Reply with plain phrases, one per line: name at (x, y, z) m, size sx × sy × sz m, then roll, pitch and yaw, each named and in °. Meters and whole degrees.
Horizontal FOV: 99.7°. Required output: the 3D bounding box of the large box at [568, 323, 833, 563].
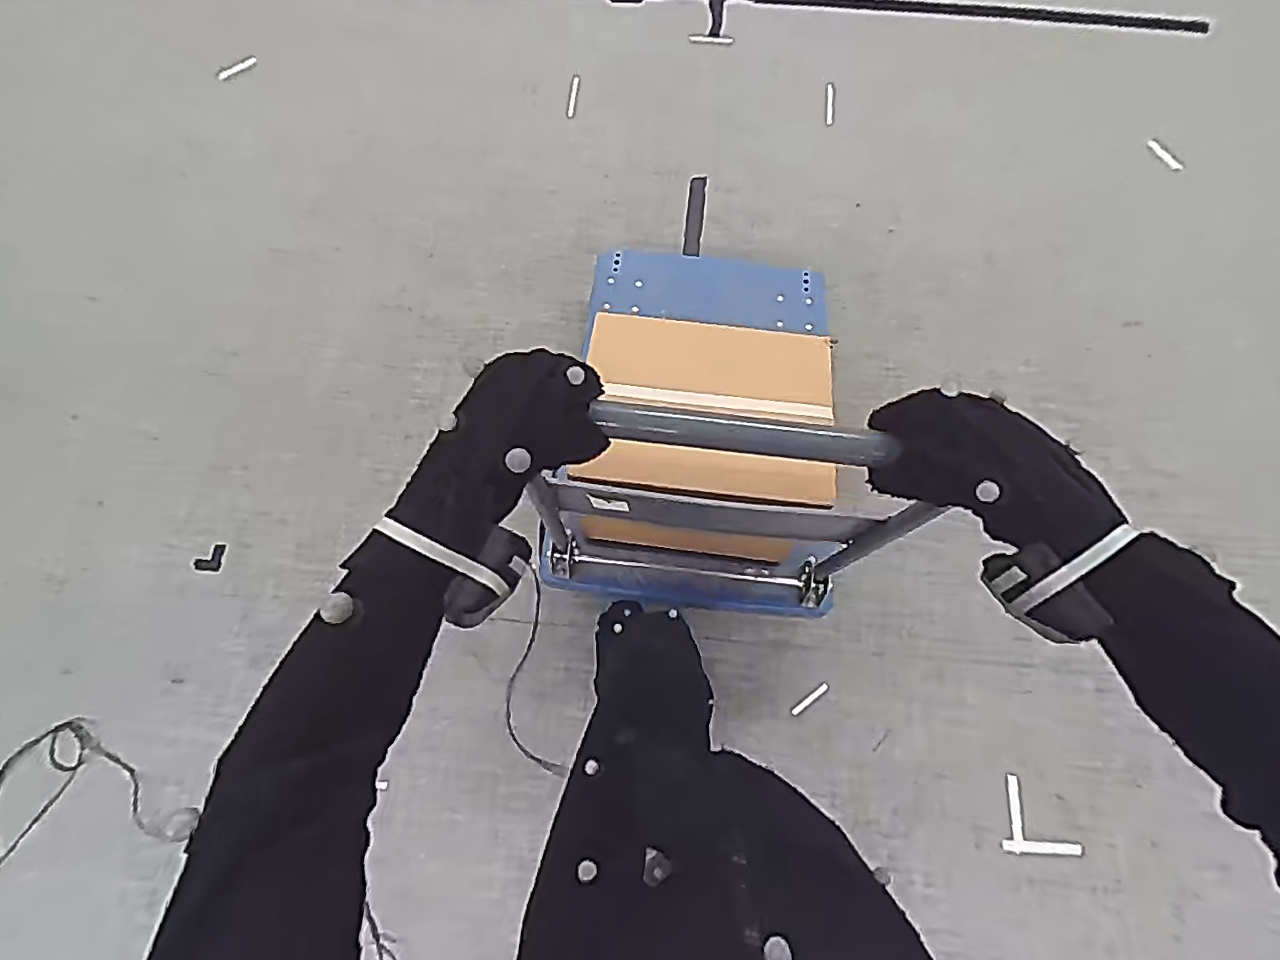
large box at (0.097, -0.051, 0.992) m, size 0.408 × 0.320 × 0.320 m, roll 7°, pitch 67°, yaw 1°
